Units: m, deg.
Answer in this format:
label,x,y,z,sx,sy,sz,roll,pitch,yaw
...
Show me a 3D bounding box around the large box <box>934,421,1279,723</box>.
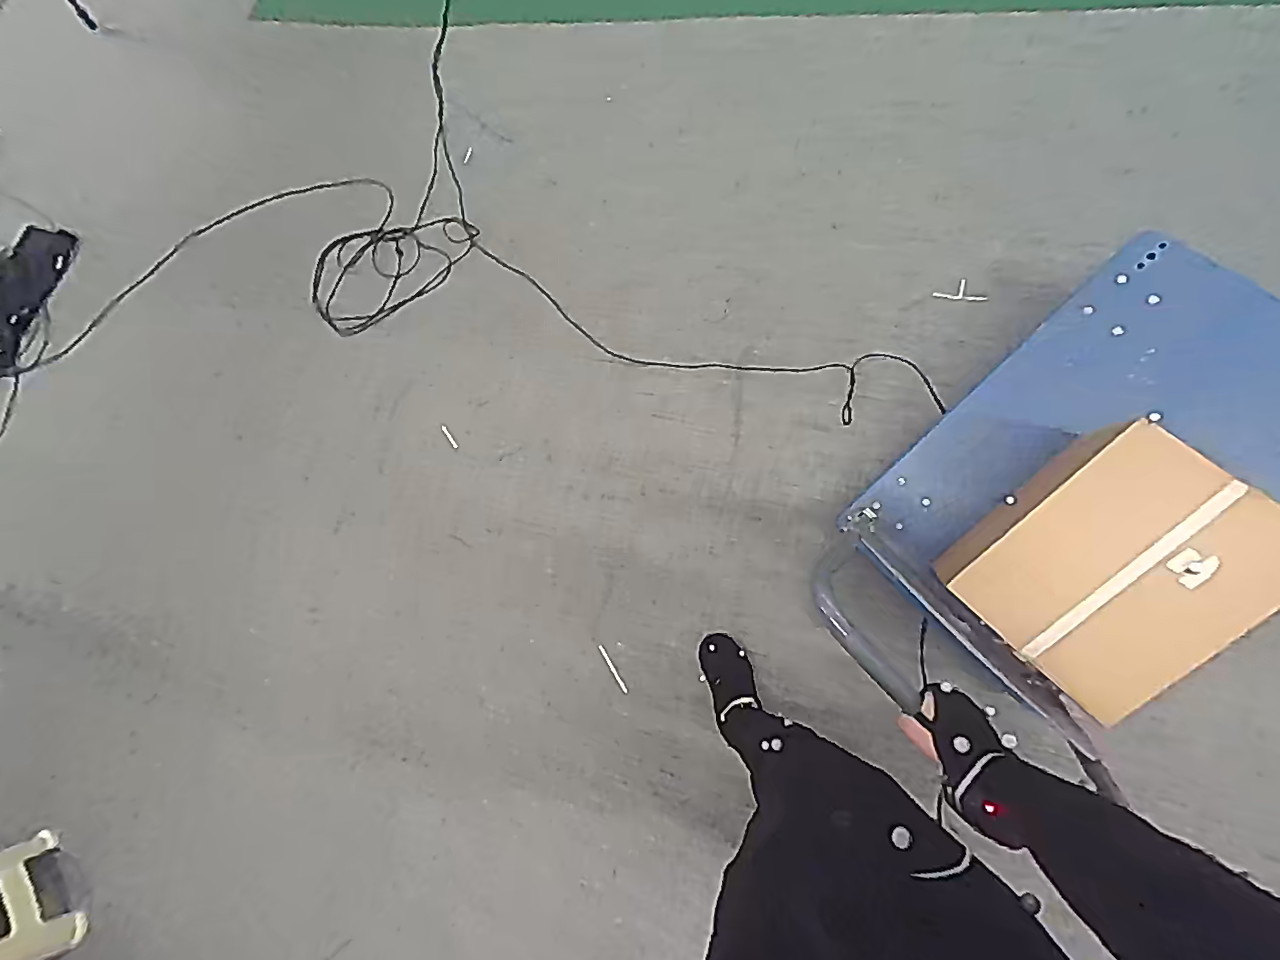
label,x,y,z,sx,sy,sz,roll,pitch,yaw
large box,0.833,0.158,1.009,0.320,0.320,0.408,47,106,18
